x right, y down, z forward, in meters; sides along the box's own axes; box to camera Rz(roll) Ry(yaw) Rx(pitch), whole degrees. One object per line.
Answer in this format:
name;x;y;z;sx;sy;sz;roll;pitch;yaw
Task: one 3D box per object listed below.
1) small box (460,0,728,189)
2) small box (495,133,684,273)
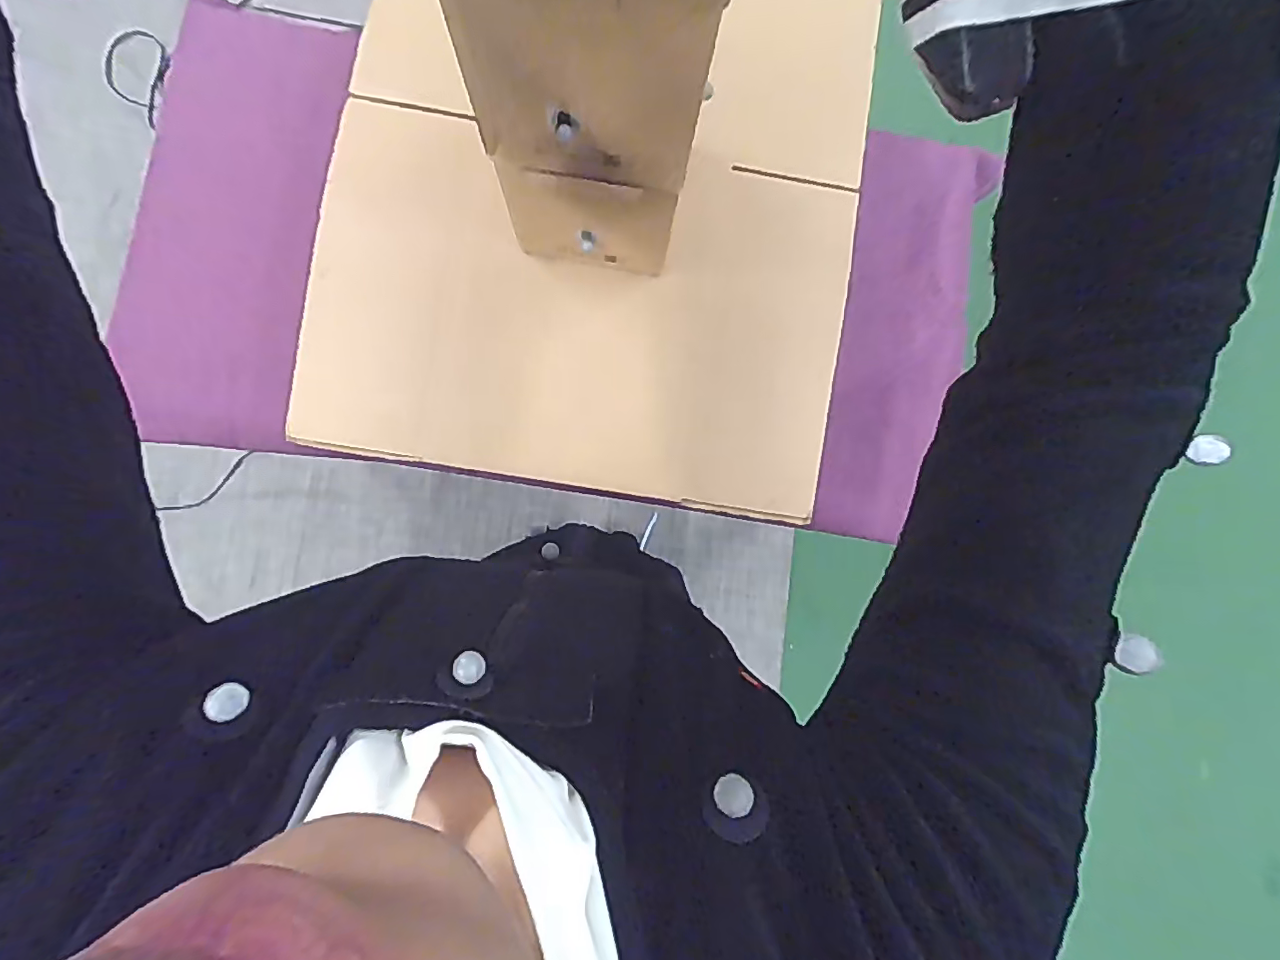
small box;-0.026;-0.350;0.385;0.168;0.176;0.179;8;85;-3
small box;-0.034;-0.342;0.548;0.168;0.176;0.179;10;84;-2
